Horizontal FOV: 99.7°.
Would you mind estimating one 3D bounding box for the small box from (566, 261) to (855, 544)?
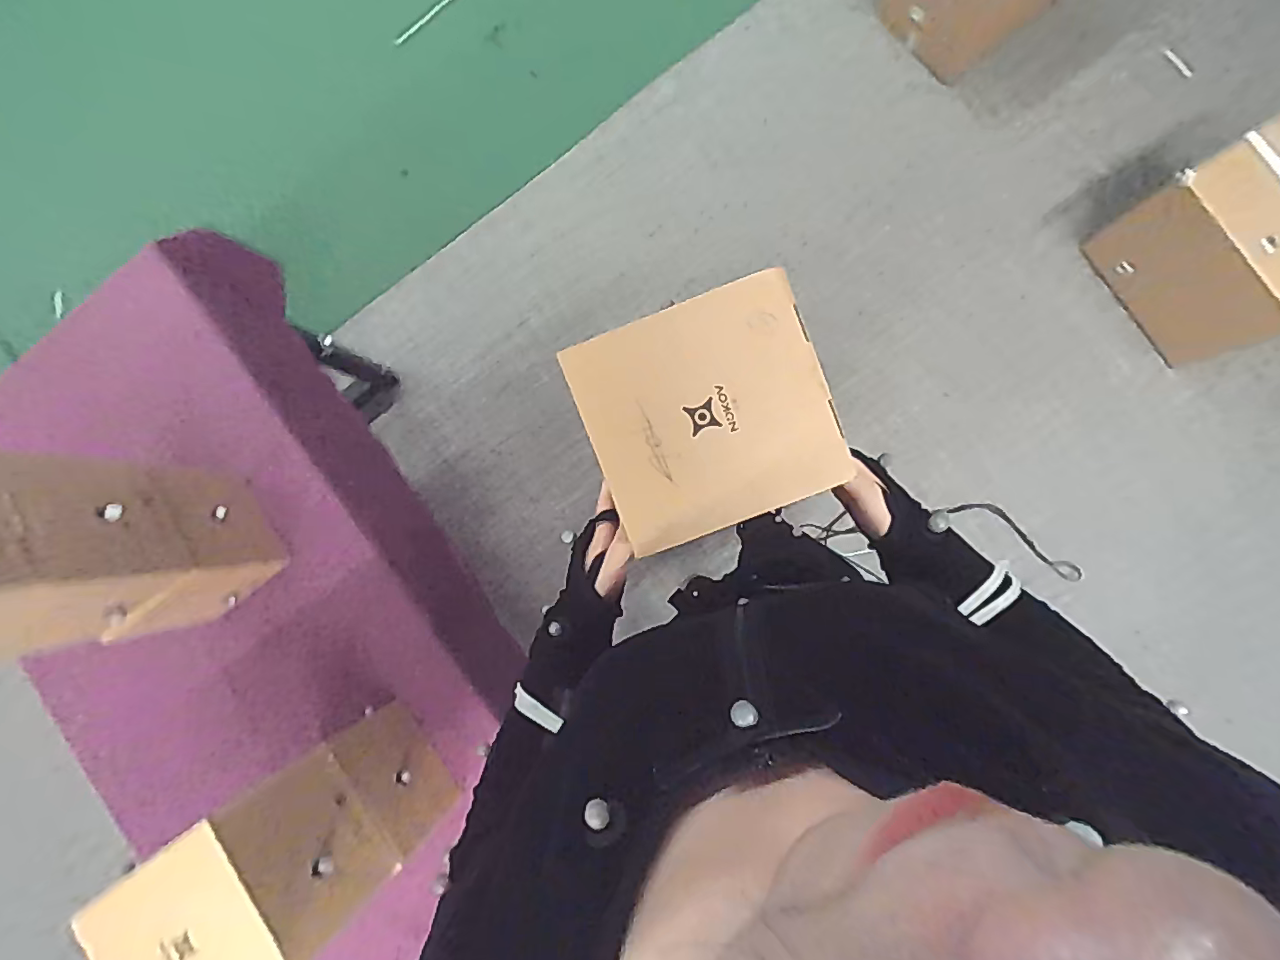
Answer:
[{"bbox_3d":[0.054,-0.061,0.473,0.179,0.176,0.168,-19,92,4],"label":"small box"}]

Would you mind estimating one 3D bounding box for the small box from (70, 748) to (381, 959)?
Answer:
[{"bbox_3d":[-0.410,0.426,0.572,0.179,0.176,0.168,-37,84,4],"label":"small box"}]

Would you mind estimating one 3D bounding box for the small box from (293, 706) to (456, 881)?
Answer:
[{"bbox_3d":[-0.388,0.435,0.733,0.168,0.176,0.179,-38,84,3],"label":"small box"}]

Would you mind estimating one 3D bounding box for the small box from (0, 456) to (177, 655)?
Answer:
[{"bbox_3d":[-0.690,0.084,0.621,0.179,0.176,0.168,-33,84,3],"label":"small box"}]

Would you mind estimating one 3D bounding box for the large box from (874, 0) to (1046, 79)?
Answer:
[{"bbox_3d":[0.891,-1.359,1.371,0.408,0.320,0.320,-37,83,1],"label":"large box"}]
